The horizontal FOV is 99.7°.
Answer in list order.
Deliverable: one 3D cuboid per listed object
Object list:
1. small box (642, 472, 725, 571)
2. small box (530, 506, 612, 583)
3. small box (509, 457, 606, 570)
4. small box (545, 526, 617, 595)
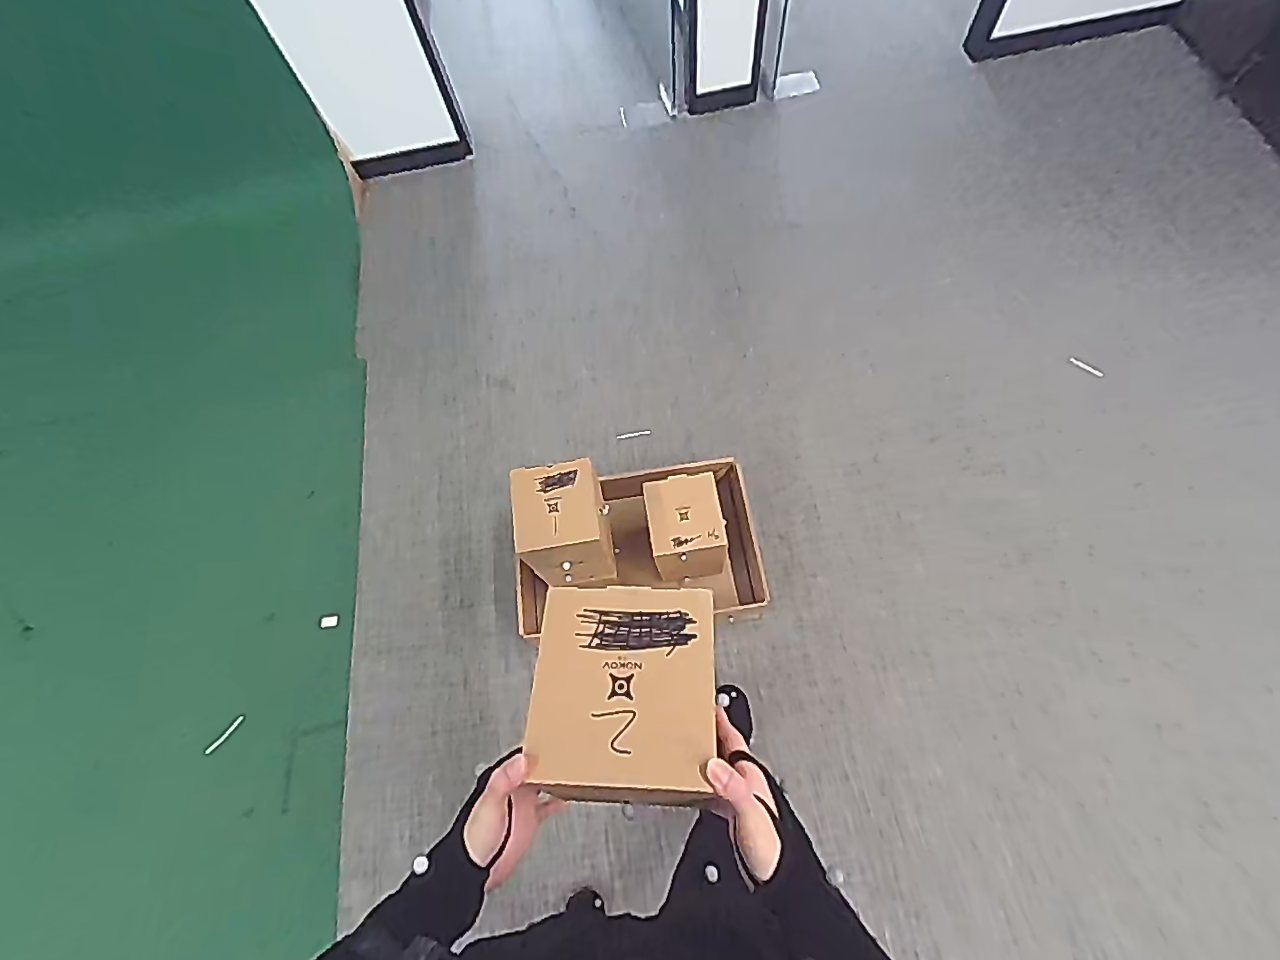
[{"bbox_3d":[0.099,0.101,1.267,0.168,0.176,0.179,-9,67,2],"label":"small box"},{"bbox_3d":[-0.162,0.138,1.273,0.168,0.176,0.179,-9,67,0],"label":"small box"},{"bbox_3d":[-0.168,0.074,1.121,0.168,0.176,0.179,-9,68,0],"label":"small box"},{"bbox_3d":[-0.157,0.200,1.421,0.168,0.176,0.179,-8,67,0],"label":"small box"}]
